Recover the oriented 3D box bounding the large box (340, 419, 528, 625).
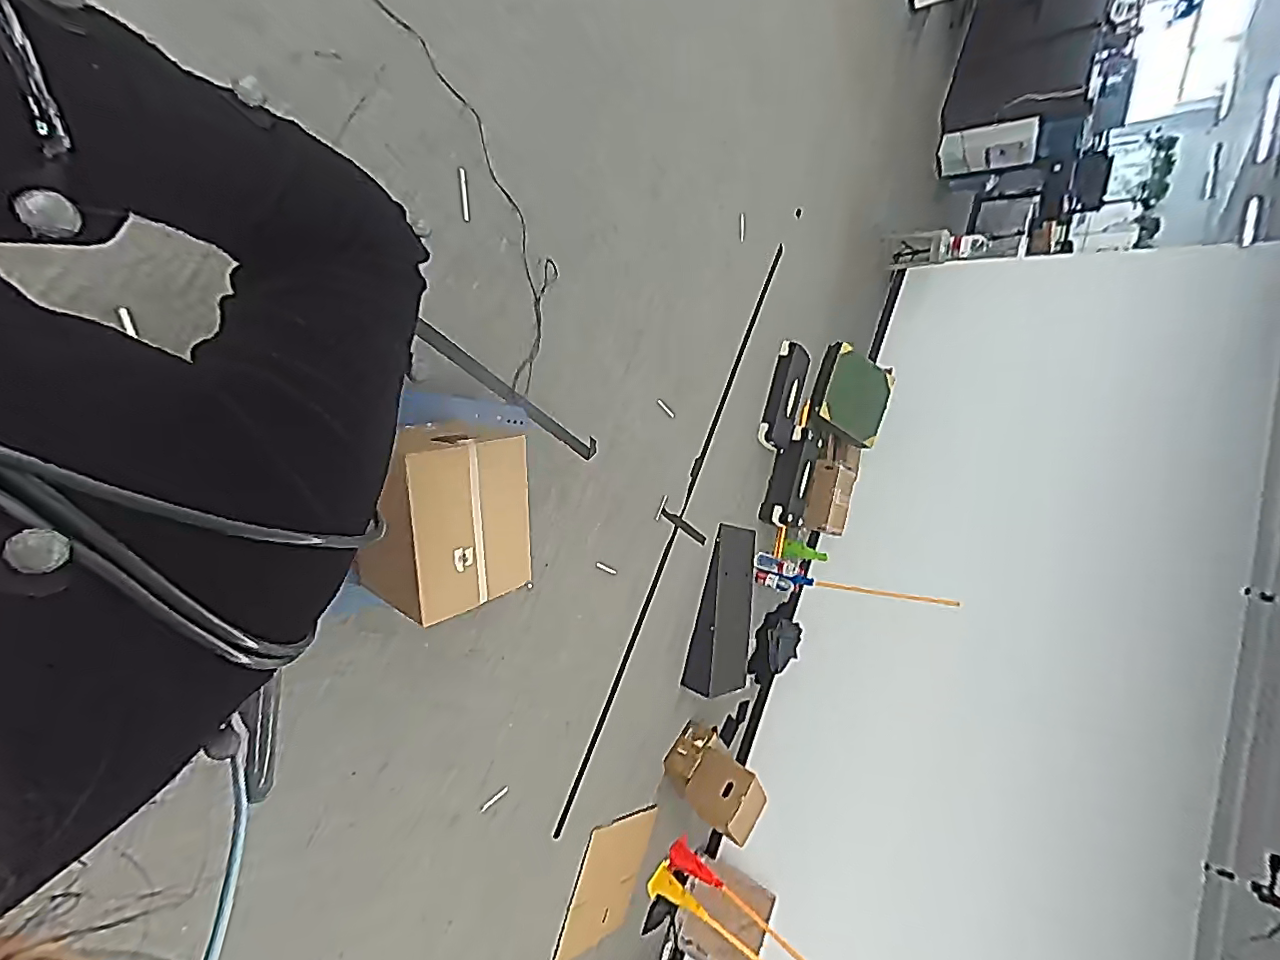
[{"bbox_3d":[-0.505,0.078,1.354,0.320,0.320,0.408,-17,114,-48],"label":"large box"}]
